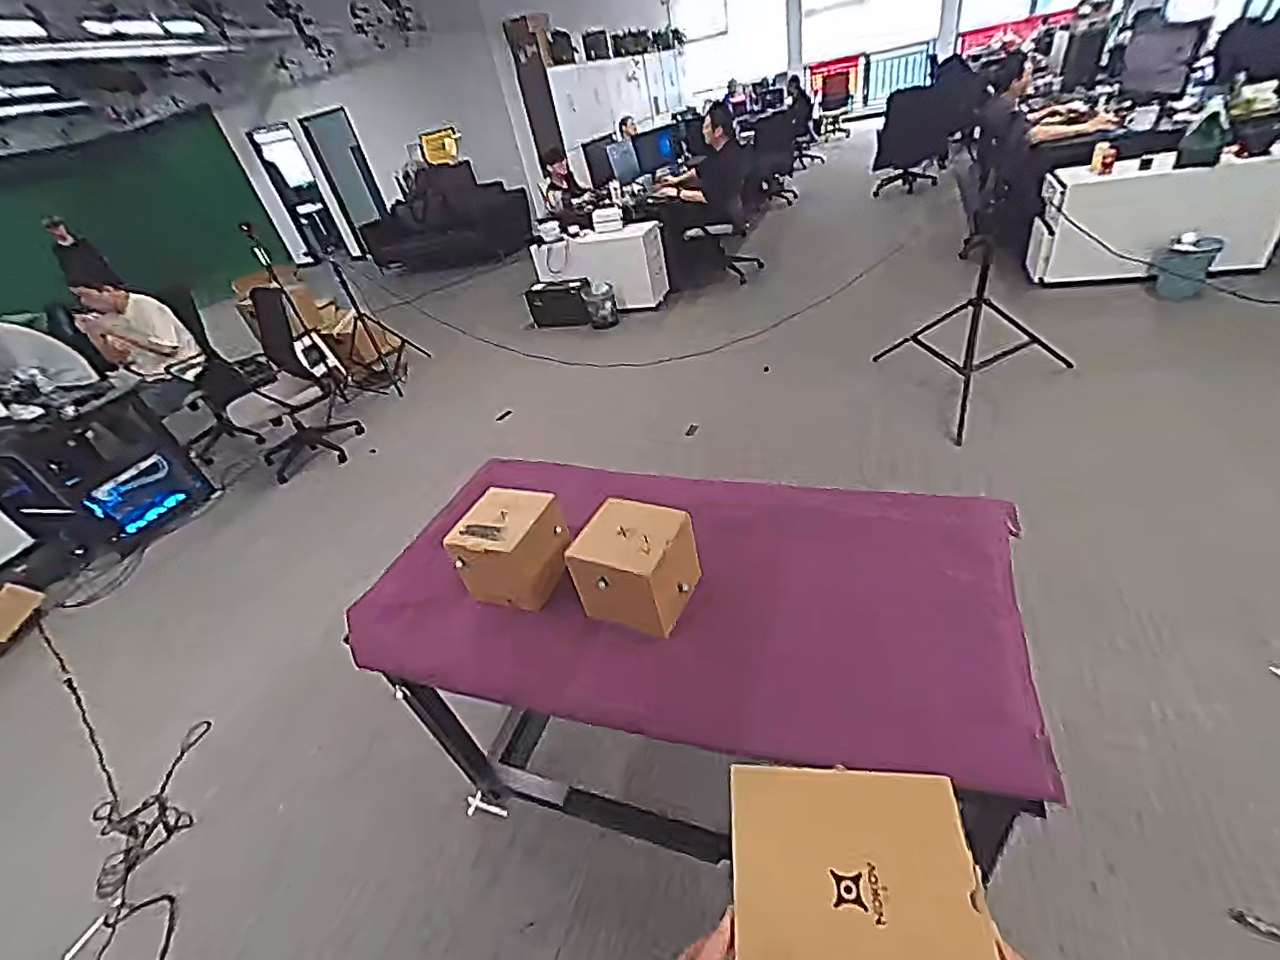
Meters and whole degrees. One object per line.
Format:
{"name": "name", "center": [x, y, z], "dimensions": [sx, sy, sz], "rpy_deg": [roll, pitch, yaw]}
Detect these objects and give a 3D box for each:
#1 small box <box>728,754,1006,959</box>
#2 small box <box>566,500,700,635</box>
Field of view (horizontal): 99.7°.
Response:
{"name": "small box", "center": [0.166, 0.346, 0.443], "dimensions": [0.179, 0.176, 0.168], "rpy_deg": [-2, 42, 9]}
{"name": "small box", "center": [-0.005, 0.162, 1.008], "dimensions": [0.179, 0.176, 0.168], "rpy_deg": [10, 42, 29]}
